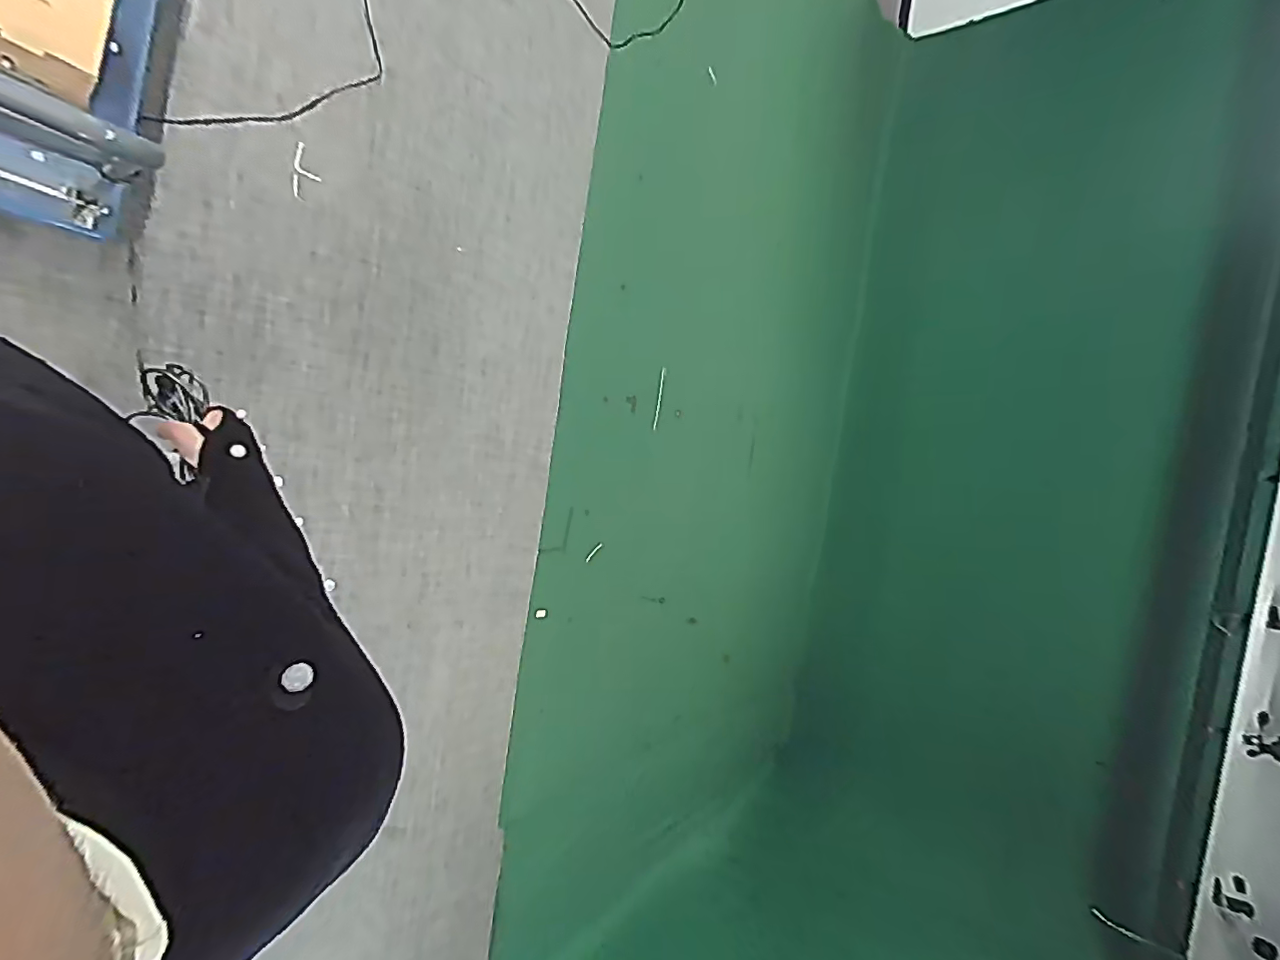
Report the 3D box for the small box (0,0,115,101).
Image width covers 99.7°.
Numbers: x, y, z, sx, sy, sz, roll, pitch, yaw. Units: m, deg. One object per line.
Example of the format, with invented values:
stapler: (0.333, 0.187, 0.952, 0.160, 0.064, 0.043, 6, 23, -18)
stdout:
small box: (-0.983, -0.762, 0.869, 0.168, 0.176, 0.179, 12, 90, -52)
